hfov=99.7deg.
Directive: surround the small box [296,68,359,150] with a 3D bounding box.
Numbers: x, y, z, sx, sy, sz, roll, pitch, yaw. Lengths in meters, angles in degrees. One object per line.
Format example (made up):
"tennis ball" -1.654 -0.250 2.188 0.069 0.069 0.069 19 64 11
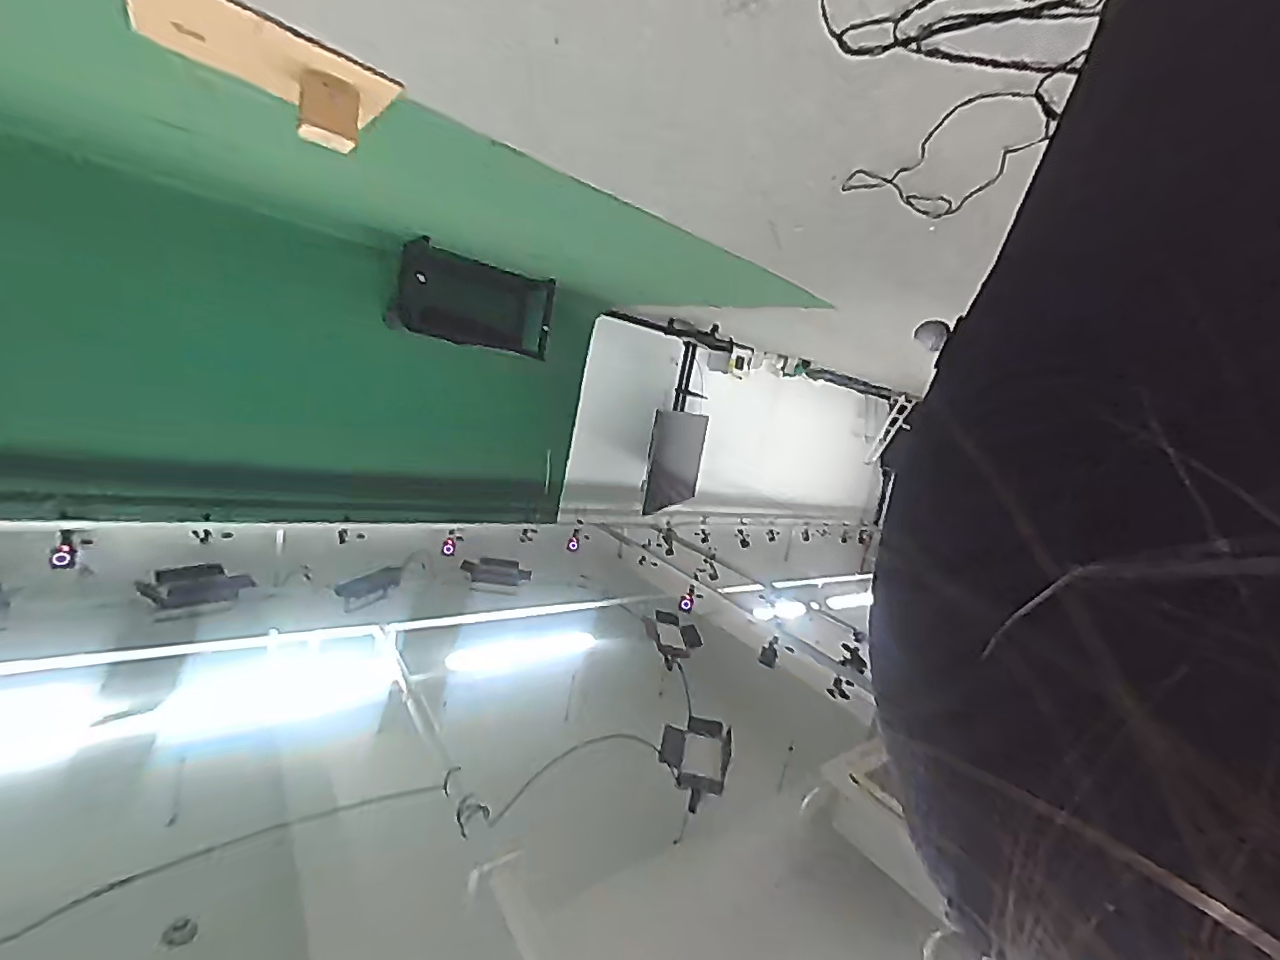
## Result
"small box" -1.111 -1.313 1.920 0.168 0.176 0.179 2 -167 -40
